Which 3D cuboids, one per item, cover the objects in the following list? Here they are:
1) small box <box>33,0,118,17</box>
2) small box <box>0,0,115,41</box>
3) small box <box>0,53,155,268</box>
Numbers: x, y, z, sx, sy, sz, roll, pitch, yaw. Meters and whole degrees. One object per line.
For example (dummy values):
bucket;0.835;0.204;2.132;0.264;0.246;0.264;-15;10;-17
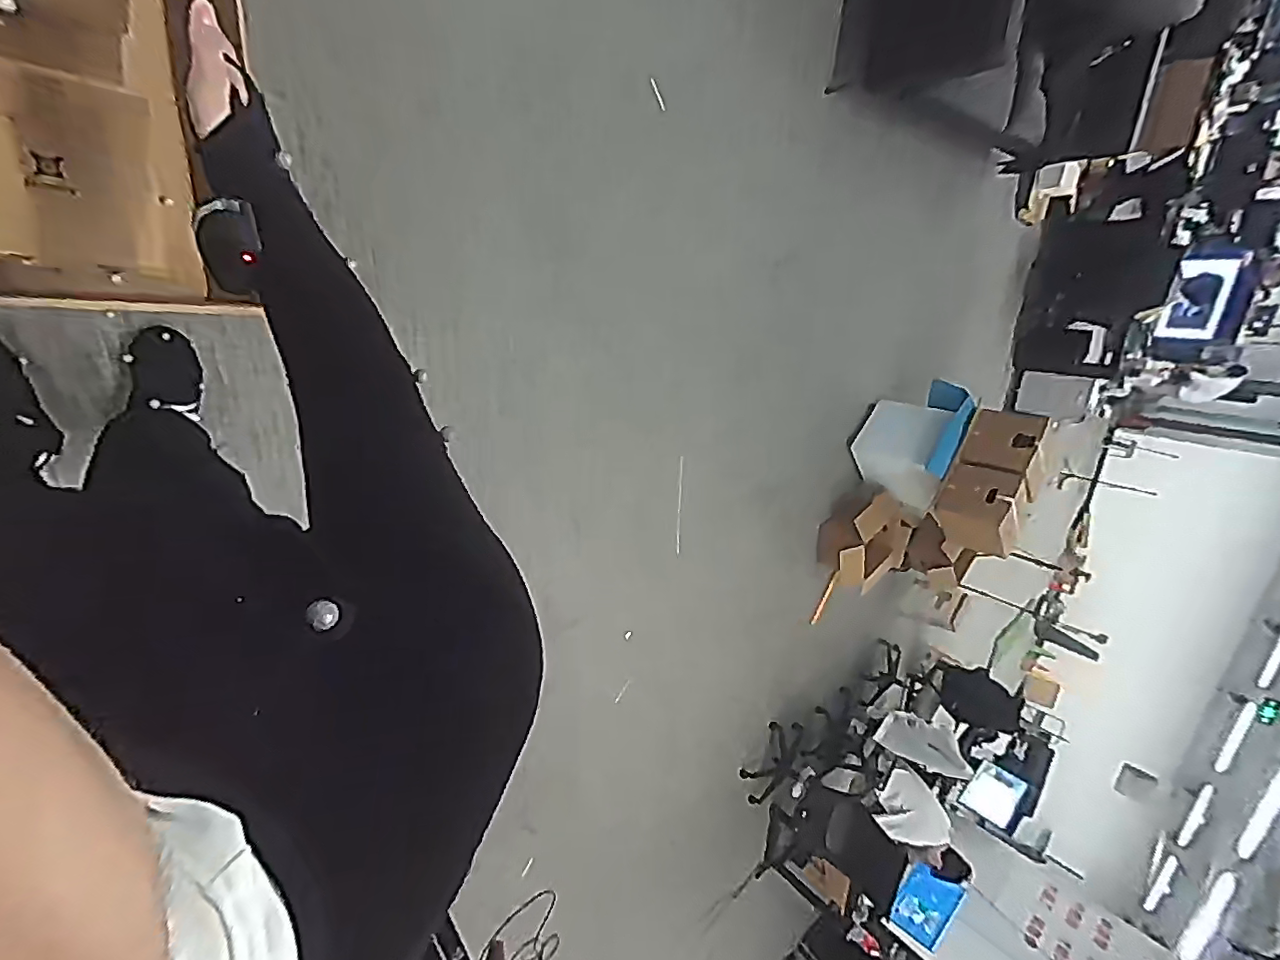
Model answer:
small box;-0.523;-0.501;0.406;0.168;0.176;0.179;-13;118;-40
small box;-0.631;-0.566;0.513;0.168;0.176;0.179;-11;117;-41
small box;-0.645;-0.336;0.587;0.168;0.176;0.179;-8;111;-43
